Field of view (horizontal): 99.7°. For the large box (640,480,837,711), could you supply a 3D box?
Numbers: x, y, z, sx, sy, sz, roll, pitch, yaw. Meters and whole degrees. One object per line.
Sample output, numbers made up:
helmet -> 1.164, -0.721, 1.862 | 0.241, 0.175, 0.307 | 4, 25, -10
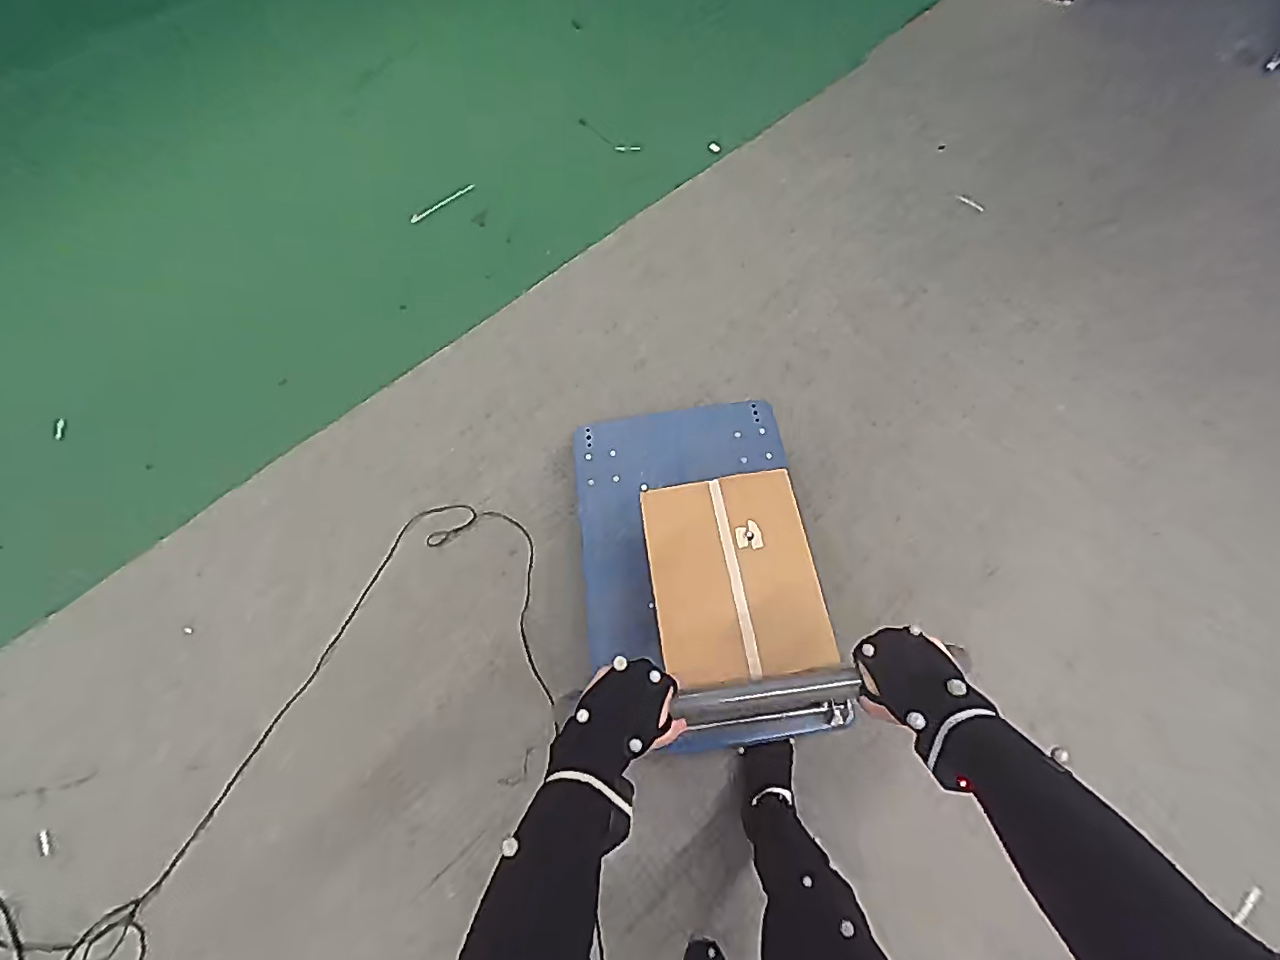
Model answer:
large box -> 0.192, 0.264, 1.194 | 0.320, 0.320, 0.408 | -9, 63, 0
